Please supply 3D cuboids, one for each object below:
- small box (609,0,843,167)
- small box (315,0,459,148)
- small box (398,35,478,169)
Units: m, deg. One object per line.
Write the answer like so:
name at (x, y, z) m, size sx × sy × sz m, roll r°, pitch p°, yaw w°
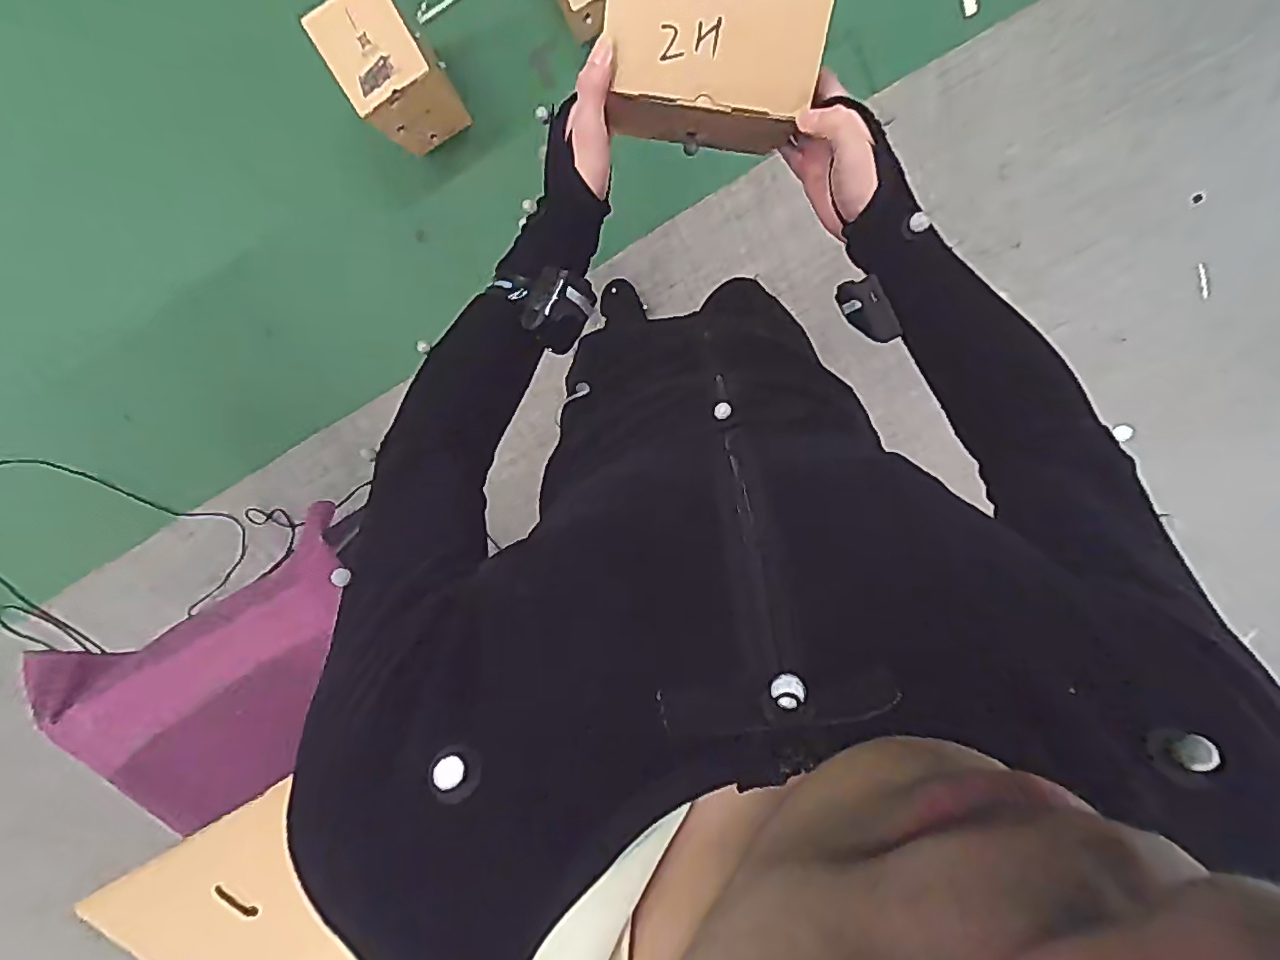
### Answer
small box at (0.069, -0.390, 0.463) m, size 0.168 × 0.176 × 0.179 m, roll 8°, pitch 112°, yaw -1°
small box at (-0.497, -0.807, 1.095) m, size 0.168 × 0.176 × 0.179 m, roll -28°, pitch 107°, yaw 6°
small box at (-0.504, -0.859, 1.249) m, size 0.168 × 0.176 × 0.179 m, roll -28°, pitch 108°, yaw 7°
